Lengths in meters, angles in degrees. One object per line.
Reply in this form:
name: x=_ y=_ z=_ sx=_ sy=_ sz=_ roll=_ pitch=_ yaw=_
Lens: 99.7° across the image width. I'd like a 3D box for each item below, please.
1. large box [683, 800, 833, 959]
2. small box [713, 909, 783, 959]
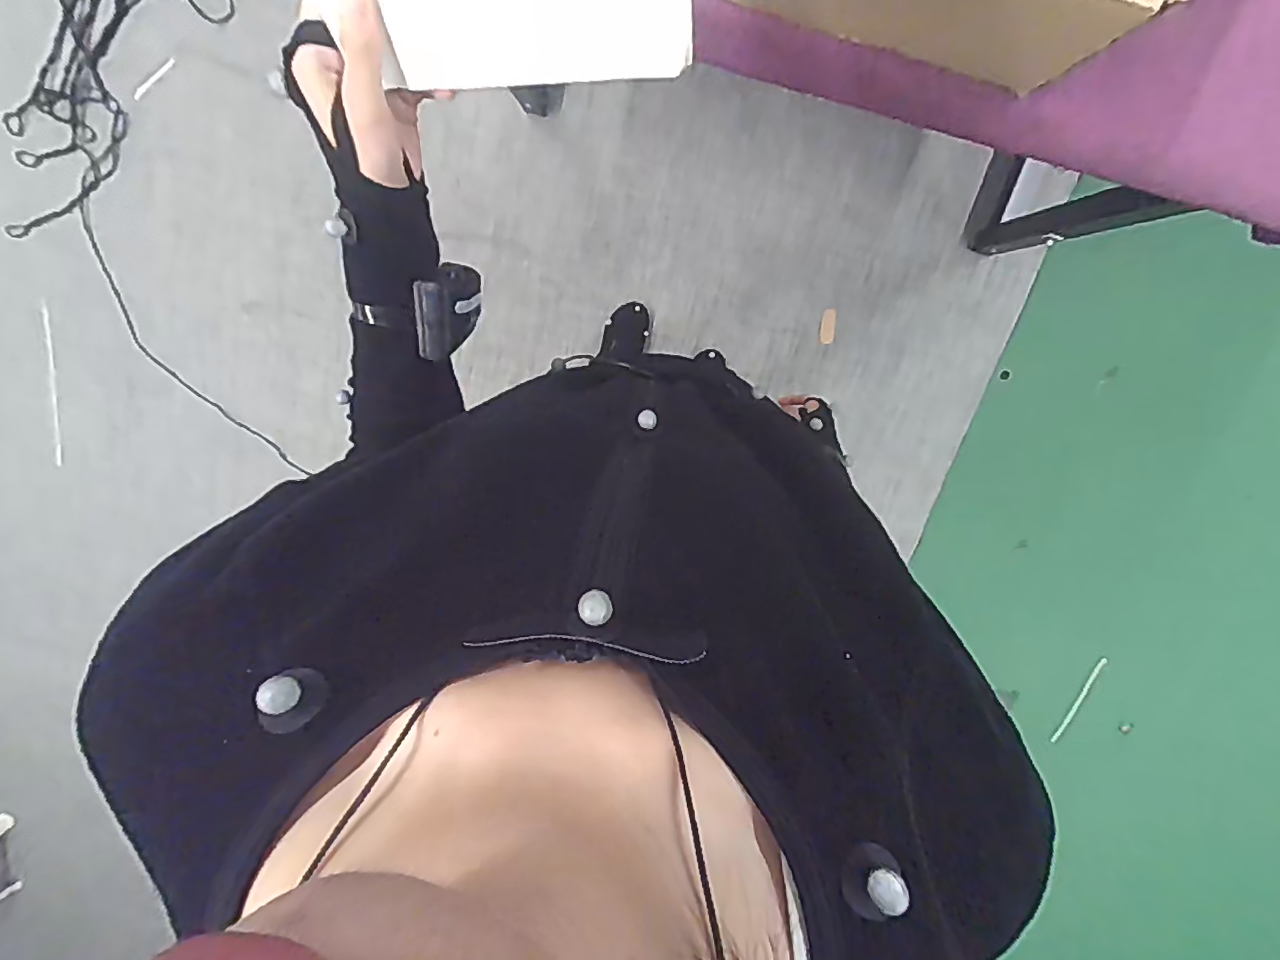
large box: x=0.343 y=1.249 z=1.686 sx=0.408 sy=0.320 sz=0.320 roll=1 pitch=106 yaw=2
small box: x=0.286 y=1.299 z=1.450 sx=0.168 sy=0.176 sz=0.179 roll=2 pitch=105 yaw=3
